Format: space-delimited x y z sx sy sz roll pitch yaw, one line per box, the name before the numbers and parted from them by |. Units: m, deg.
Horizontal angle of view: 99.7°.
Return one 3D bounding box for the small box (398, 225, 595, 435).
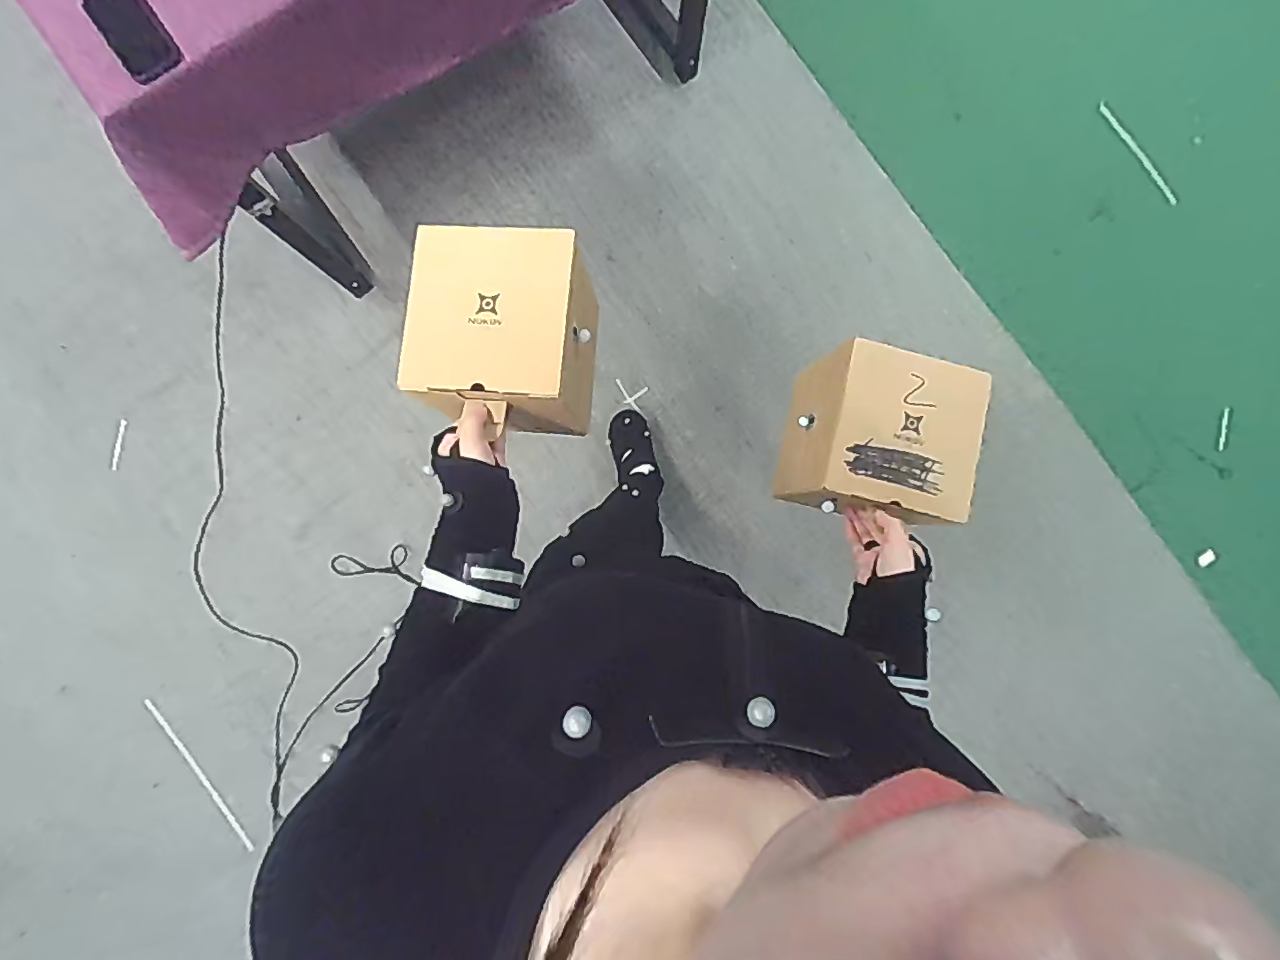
small box | -0.146 -0.159 0.615 0.168 0.176 0.179 4 83 4
